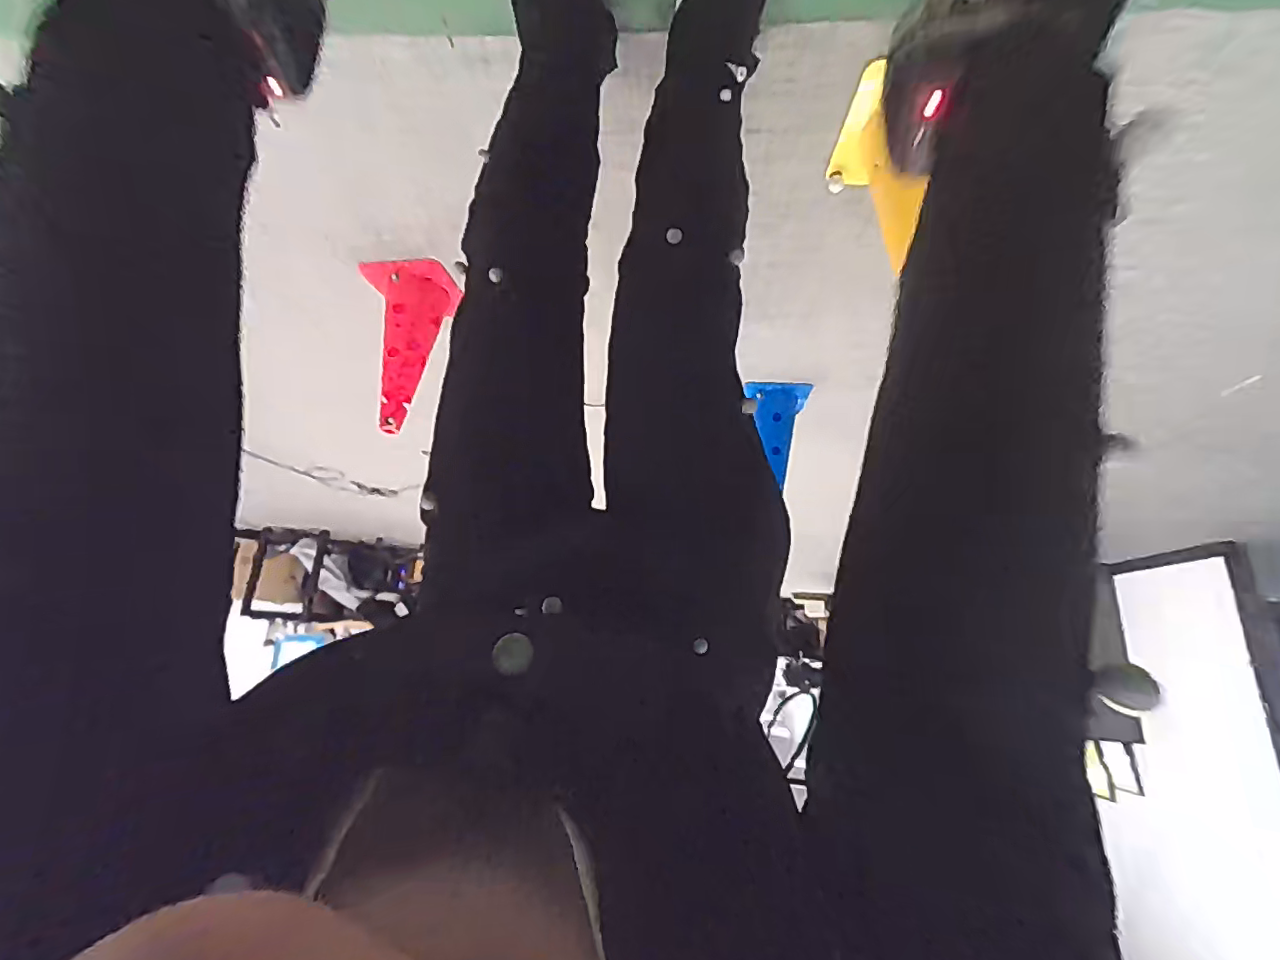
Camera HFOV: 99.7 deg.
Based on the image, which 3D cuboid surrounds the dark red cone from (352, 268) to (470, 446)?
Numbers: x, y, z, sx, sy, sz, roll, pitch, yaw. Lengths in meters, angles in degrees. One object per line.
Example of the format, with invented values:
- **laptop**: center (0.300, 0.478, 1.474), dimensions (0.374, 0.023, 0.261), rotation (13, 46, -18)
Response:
- **dark red cone**: center (-0.529, -0.258, 1.177), dimensions (0.202, 0.394, 0.201), rotation (1, 159, 12)

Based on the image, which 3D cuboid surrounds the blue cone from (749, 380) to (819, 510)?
- **blue cone**: center (0.416, -0.098, 1.577), dimensions (0.192, 0.380, 0.193), rotation (3, 163, 5)
